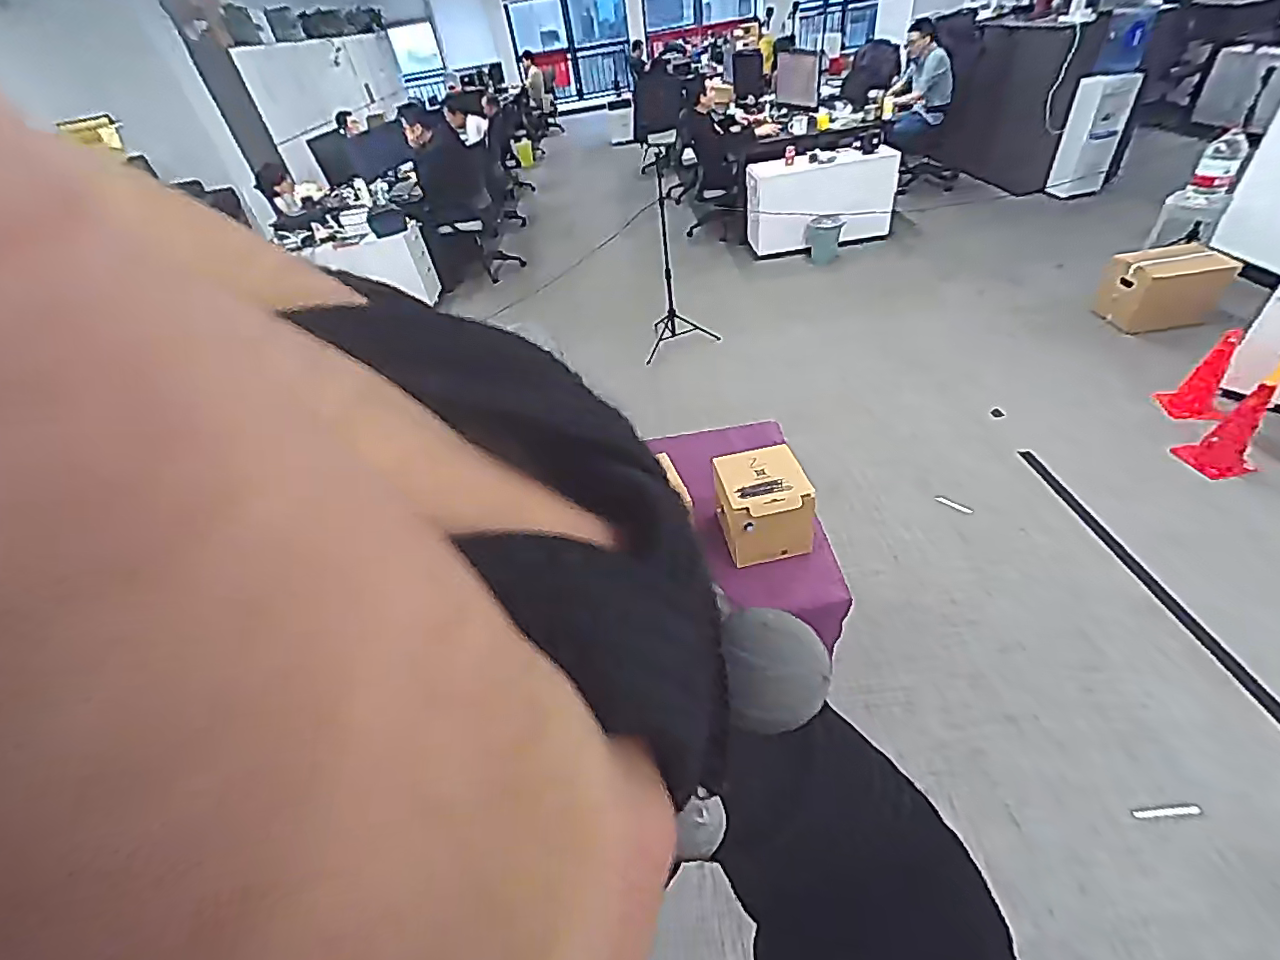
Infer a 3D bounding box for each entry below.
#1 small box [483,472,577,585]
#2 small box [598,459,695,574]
[{"bbox_3d":[-0.244,0.114,1.208,0.168,0.176,0.179,-15,40,-5],"label":"small box"},{"bbox_3d":[0.017,0.087,1.189,0.168,0.176,0.179,-16,40,-7],"label":"small box"}]
